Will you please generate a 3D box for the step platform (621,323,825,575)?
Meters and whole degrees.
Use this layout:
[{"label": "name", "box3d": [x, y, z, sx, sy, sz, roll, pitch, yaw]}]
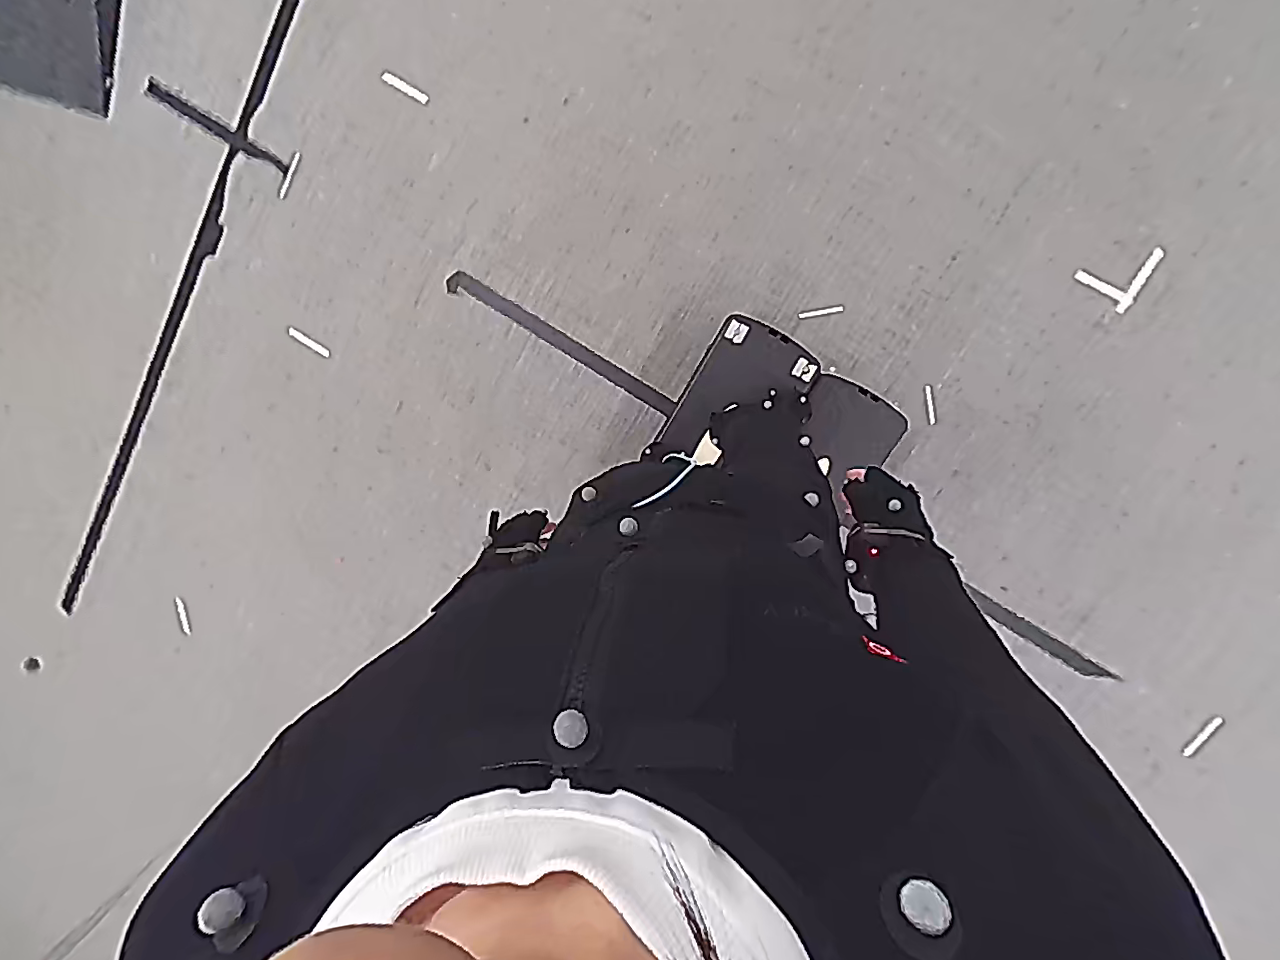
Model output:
[{"label": "step platform", "box3d": [0.218, -0.080, 1.501, 0.286, 0.204, 0.684, 30, 99, 2]}]
